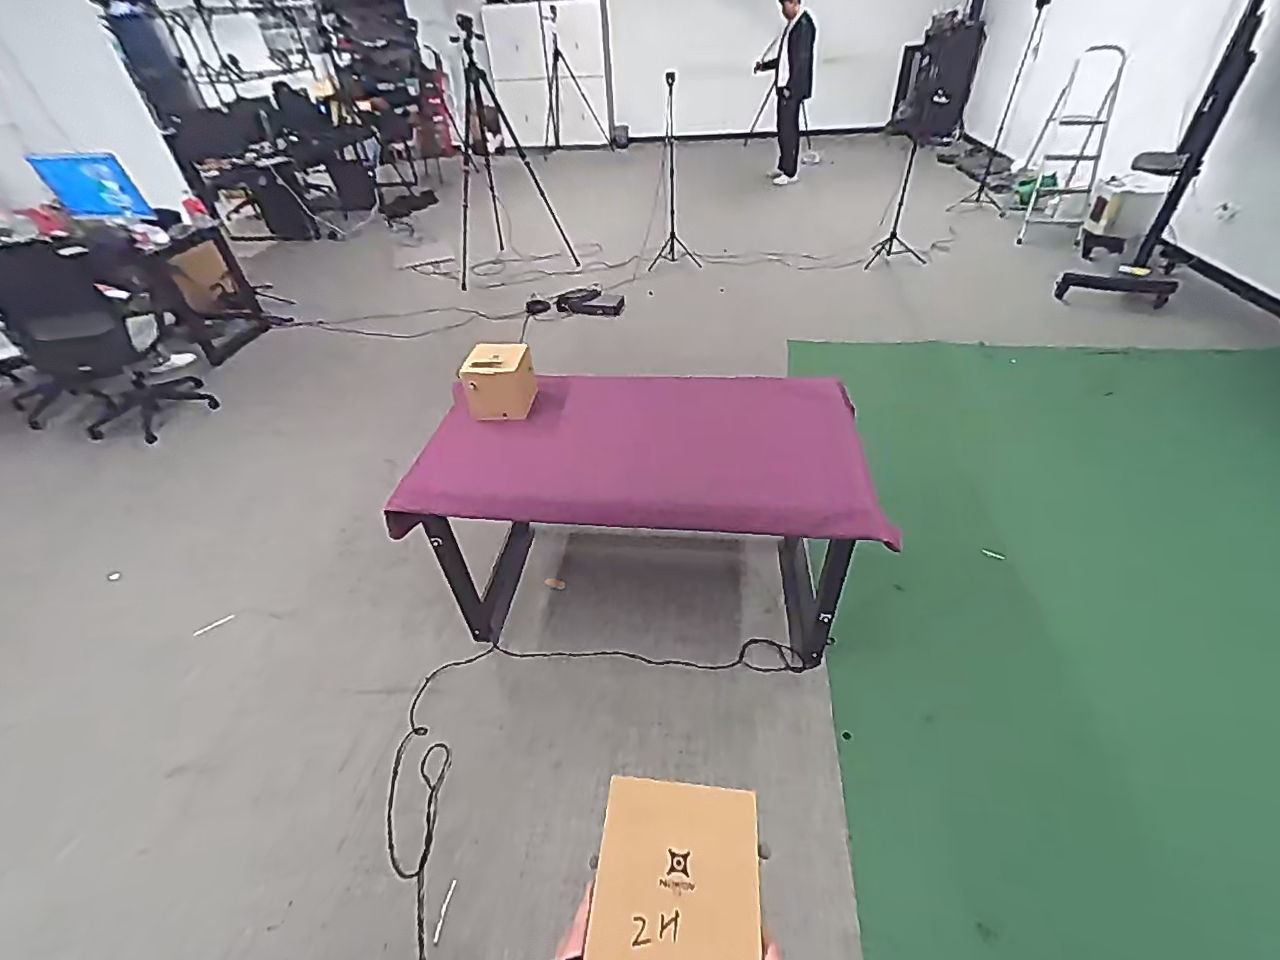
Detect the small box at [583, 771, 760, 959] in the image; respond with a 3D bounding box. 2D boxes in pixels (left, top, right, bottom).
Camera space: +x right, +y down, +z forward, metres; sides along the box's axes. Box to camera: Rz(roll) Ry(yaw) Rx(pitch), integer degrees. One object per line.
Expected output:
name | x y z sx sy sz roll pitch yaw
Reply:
small box | 0.041 0.459 0.602 0.168 0.176 0.179 3 41 7
